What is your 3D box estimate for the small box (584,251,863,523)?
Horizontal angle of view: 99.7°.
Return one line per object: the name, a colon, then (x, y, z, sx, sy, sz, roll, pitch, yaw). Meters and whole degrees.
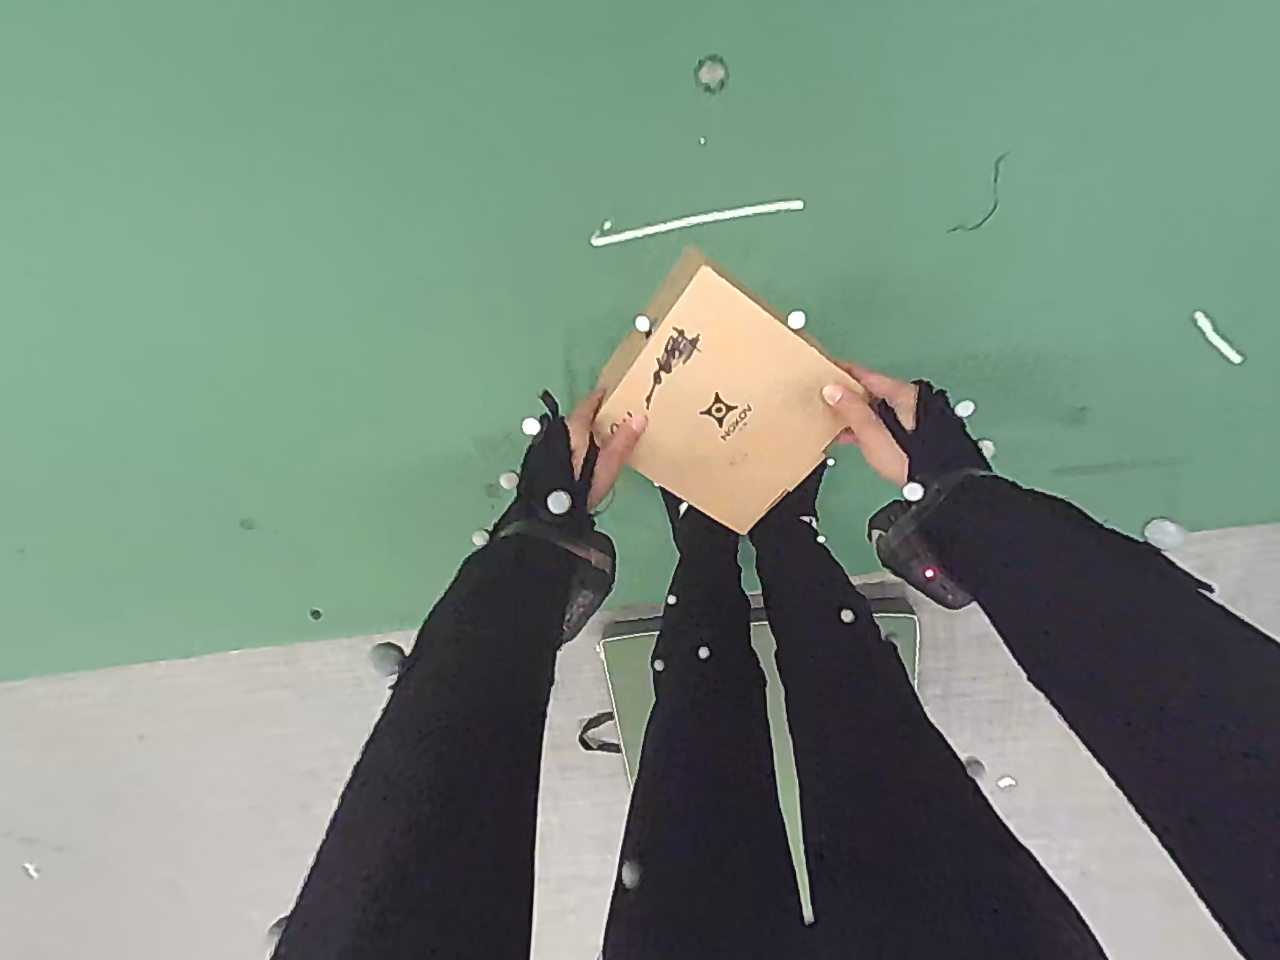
small box: (0.069, -0.098, 0.519, 0.179, 0.176, 0.168, 32, 114, -16)
